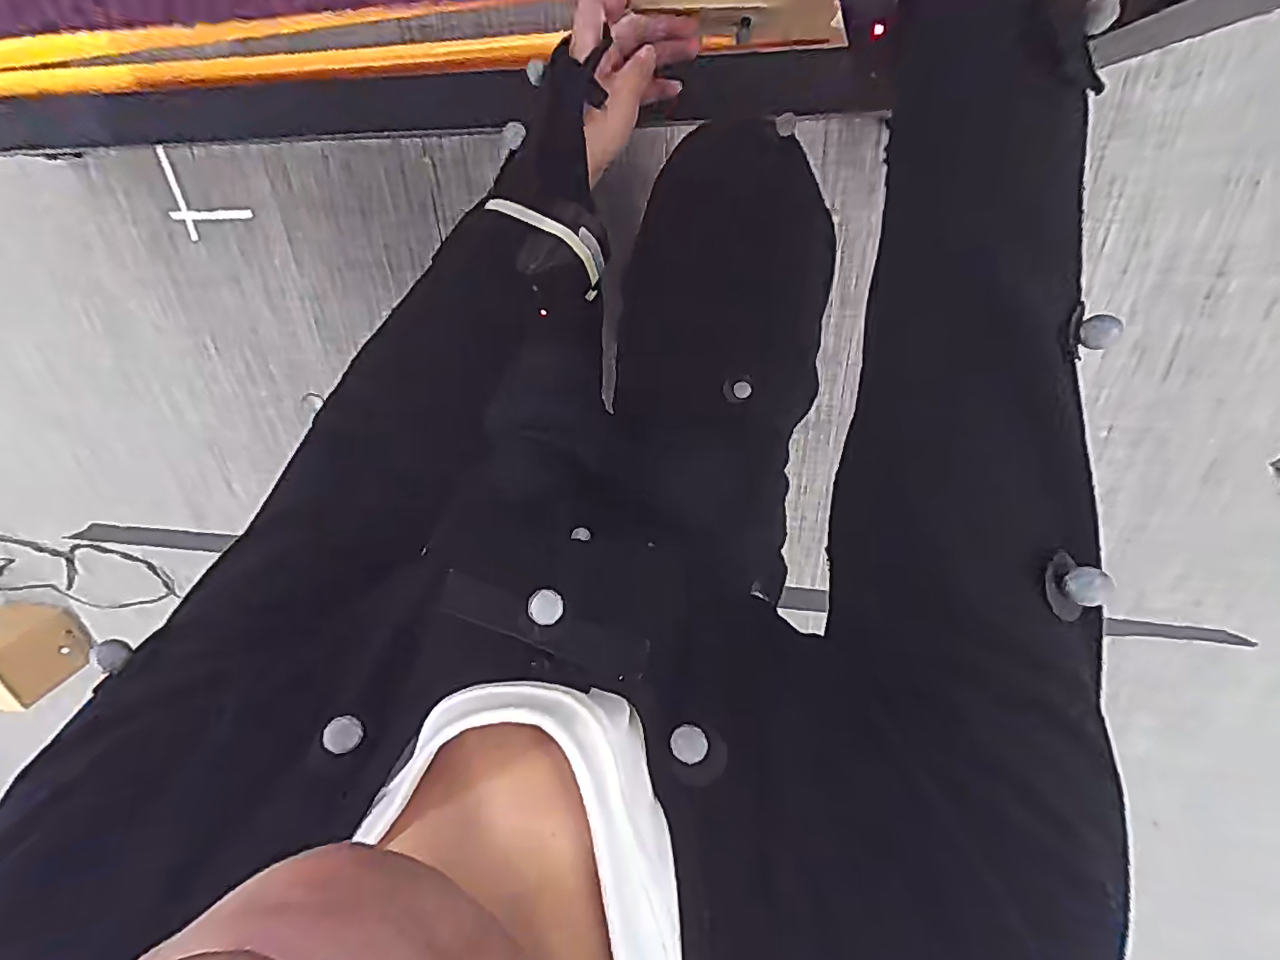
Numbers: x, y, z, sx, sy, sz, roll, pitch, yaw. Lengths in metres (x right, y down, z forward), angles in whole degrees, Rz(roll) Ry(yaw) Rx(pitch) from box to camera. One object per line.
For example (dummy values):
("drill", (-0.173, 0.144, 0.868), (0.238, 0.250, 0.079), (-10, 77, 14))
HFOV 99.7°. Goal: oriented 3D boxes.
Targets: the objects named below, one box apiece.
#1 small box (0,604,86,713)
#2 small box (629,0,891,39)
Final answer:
("small box", (-1.469, 0.406, 1.250), (0.179, 0.176, 0.168), (2, 119, 7))
("small box", (0.091, -0.418, 0.371), (0.179, 0.176, 0.168), (7, 125, 7))
